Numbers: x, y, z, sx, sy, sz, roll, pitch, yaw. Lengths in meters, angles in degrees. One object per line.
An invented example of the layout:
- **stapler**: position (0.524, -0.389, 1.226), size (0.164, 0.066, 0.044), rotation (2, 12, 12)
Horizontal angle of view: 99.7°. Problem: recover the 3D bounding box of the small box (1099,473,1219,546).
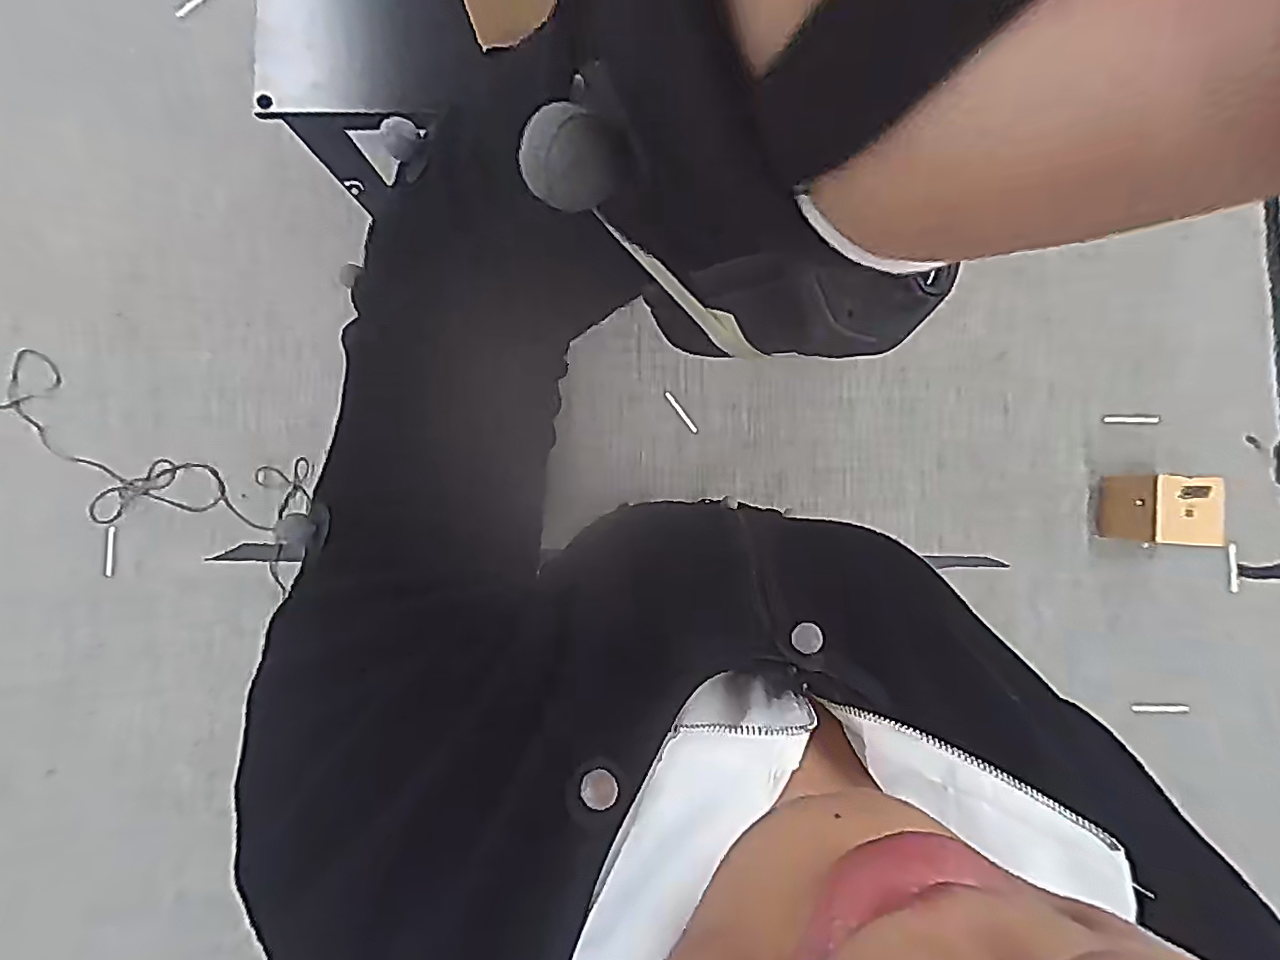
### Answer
- **small box**: position (1.367, 0.078, 1.433), size (0.168, 0.176, 0.179), rotation (4, 88, 0)
